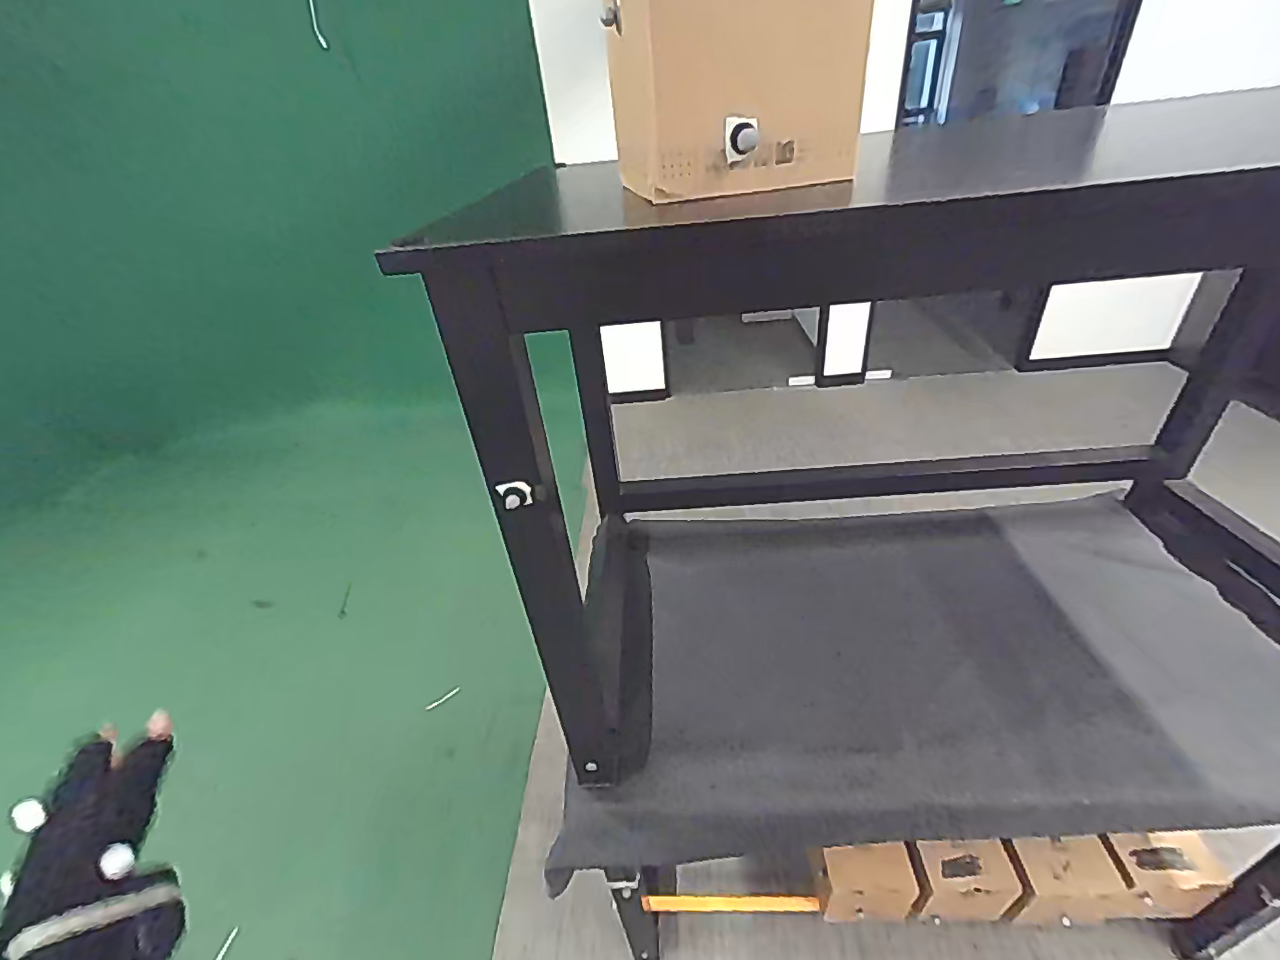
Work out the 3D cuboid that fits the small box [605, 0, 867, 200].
[{"bbox_3d":[0.065,-0.341,0.450,0.168,0.176,0.179,-11,35,-5],"label":"small box"}]
